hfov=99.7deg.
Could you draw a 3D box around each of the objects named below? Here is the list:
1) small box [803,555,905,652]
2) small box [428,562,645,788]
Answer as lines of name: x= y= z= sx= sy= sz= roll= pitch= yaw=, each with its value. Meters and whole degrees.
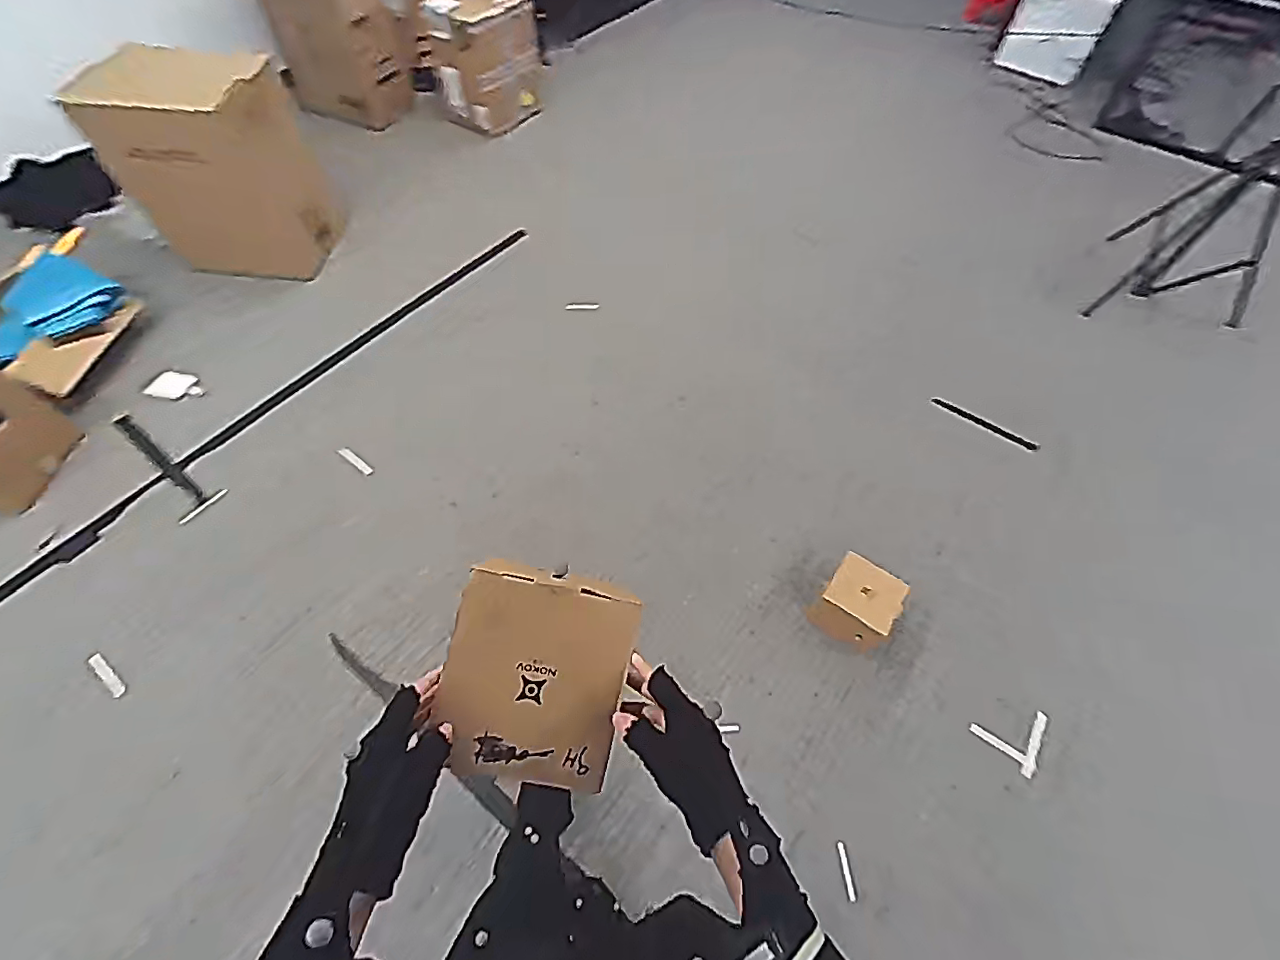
small box: x=0.570 y=0.339 z=1.455 sx=0.179 sy=0.176 sz=0.168 roll=31 pitch=61 yaw=18
small box: x=-0.103 y=0.188 z=0.575 sx=0.168 sy=0.176 sz=0.179 roll=14 pitch=82 yaw=-6
